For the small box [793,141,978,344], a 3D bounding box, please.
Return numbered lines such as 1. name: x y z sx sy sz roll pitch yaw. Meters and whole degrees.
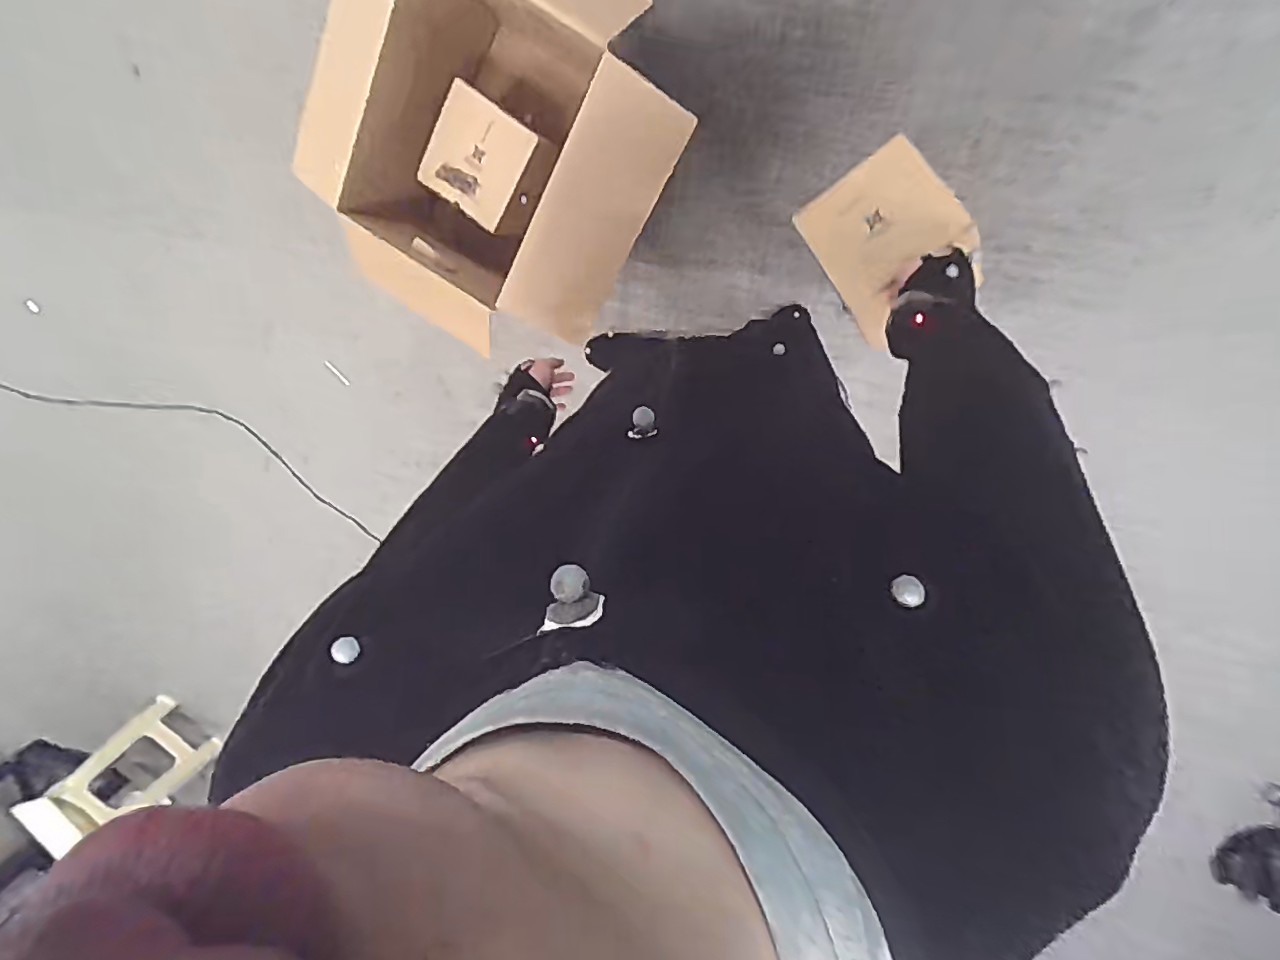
1. small box: 0.351 -0.316 0.765 0.168 0.176 0.179 -33 64 24
